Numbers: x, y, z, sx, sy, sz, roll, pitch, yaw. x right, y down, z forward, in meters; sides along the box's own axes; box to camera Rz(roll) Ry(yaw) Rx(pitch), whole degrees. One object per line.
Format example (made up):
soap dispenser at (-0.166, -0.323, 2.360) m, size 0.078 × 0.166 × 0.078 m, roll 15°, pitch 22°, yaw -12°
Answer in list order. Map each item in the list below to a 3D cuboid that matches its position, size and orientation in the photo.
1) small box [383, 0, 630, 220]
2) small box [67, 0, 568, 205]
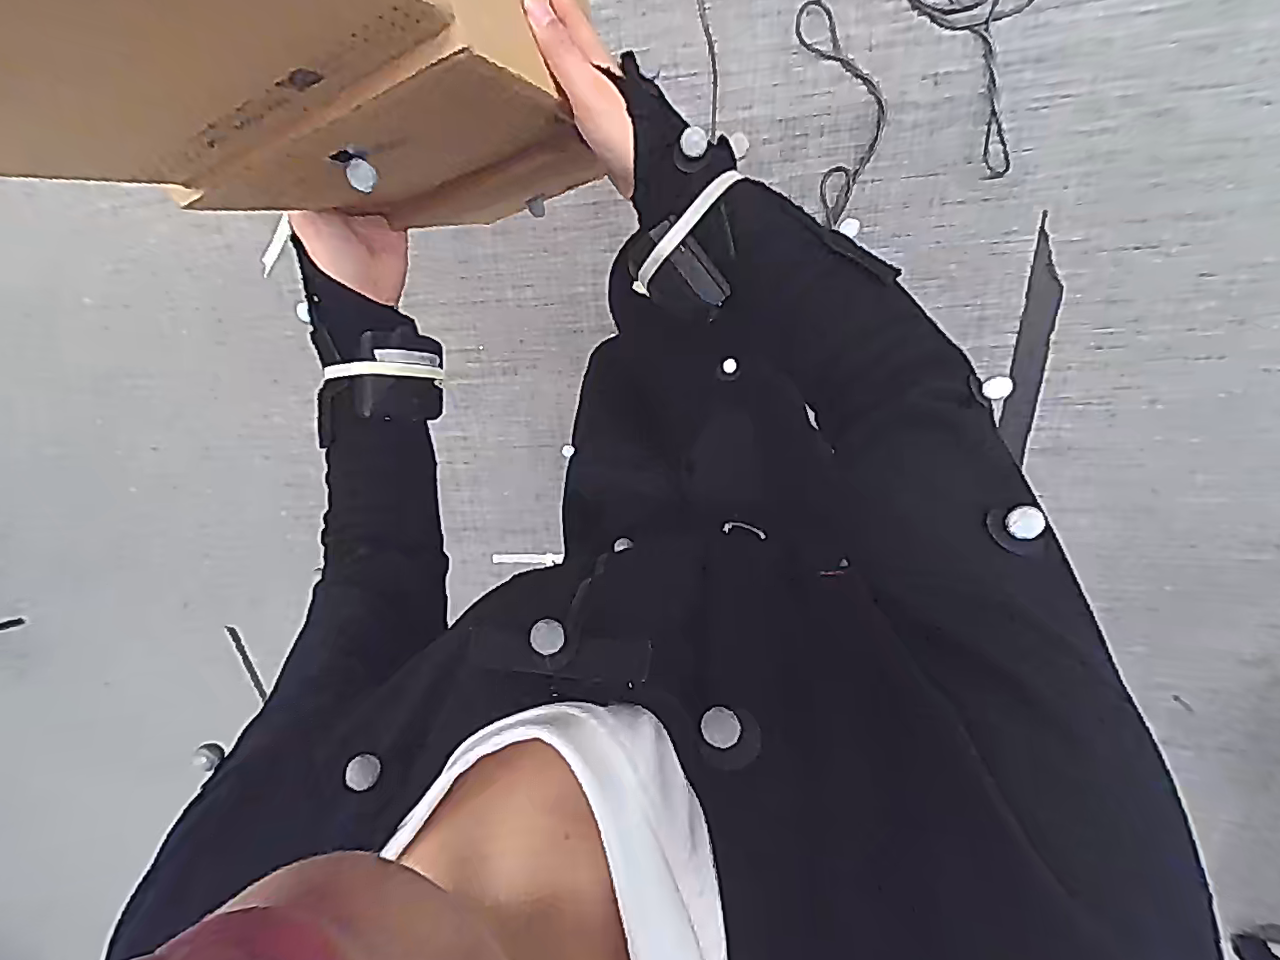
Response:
small box at (-0.122, -0.323, 0.428) m, size 0.168 × 0.176 × 0.179 m, roll -12°, pitch 113°, yaw 19°
small box at (-0.153, -0.260, 0.281) m, size 0.179 × 0.176 × 0.168 m, roll -12°, pitch 113°, yaw 19°
